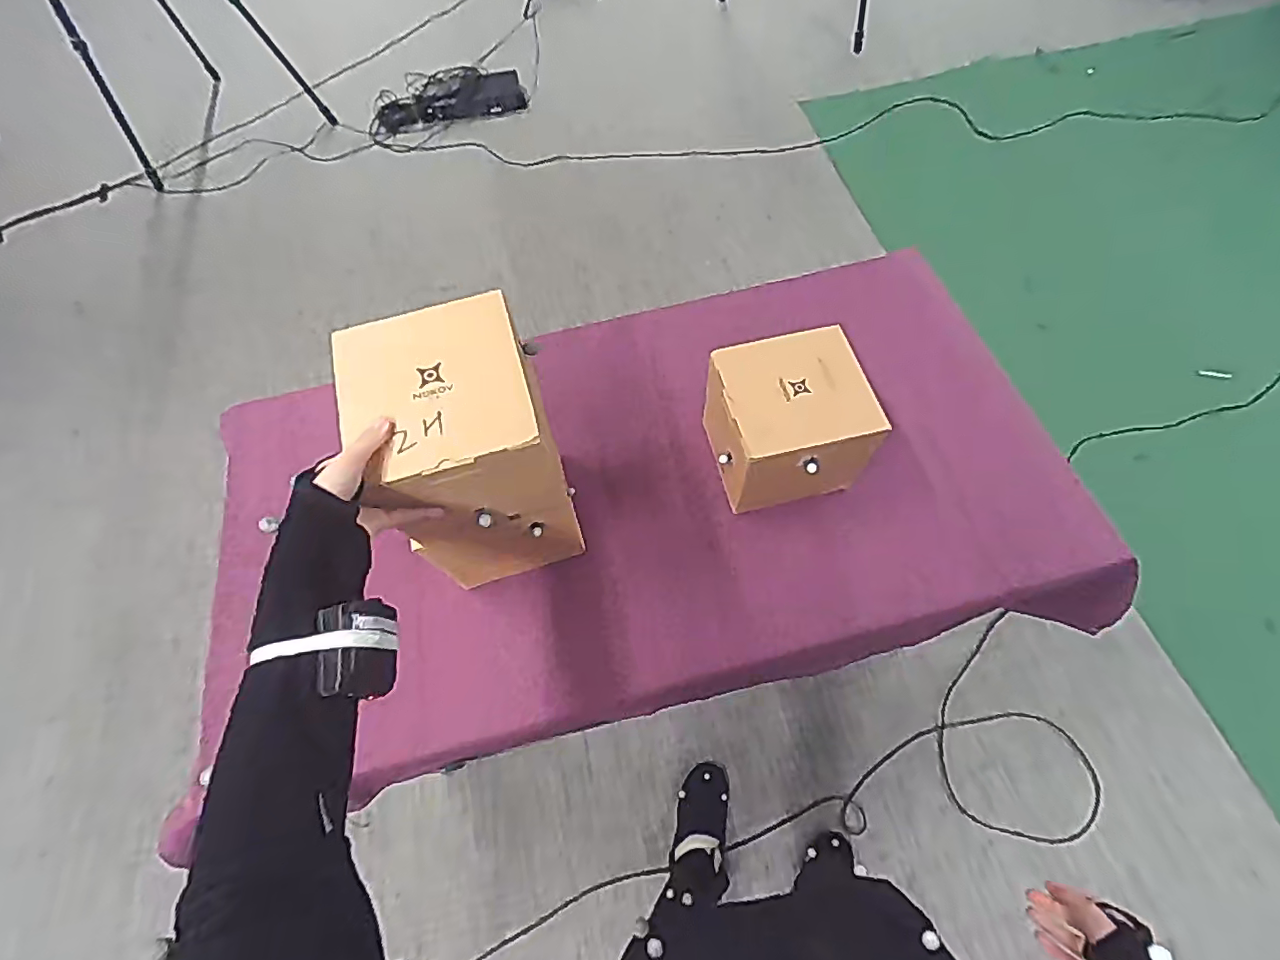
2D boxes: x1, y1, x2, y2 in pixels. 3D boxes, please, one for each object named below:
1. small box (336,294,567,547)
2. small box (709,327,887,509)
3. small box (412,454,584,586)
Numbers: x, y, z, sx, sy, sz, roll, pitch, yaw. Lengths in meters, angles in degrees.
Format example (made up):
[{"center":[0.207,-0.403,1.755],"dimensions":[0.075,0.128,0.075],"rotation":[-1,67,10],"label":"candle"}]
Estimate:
[{"center":[-0.185,-0.053,0.562],"dimensions":[0.168,0.176,0.179],"rotation":[-18,67,-5],"label":"small box"},{"center":[0.196,-0.076,0.736],"dimensions":[0.179,0.176,0.168],"rotation":[-12,64,-3],"label":"small box"},{"center":[-0.187,0.023,0.714],"dimensions":[0.179,0.176,0.168],"rotation":[-18,63,-6],"label":"small box"}]
